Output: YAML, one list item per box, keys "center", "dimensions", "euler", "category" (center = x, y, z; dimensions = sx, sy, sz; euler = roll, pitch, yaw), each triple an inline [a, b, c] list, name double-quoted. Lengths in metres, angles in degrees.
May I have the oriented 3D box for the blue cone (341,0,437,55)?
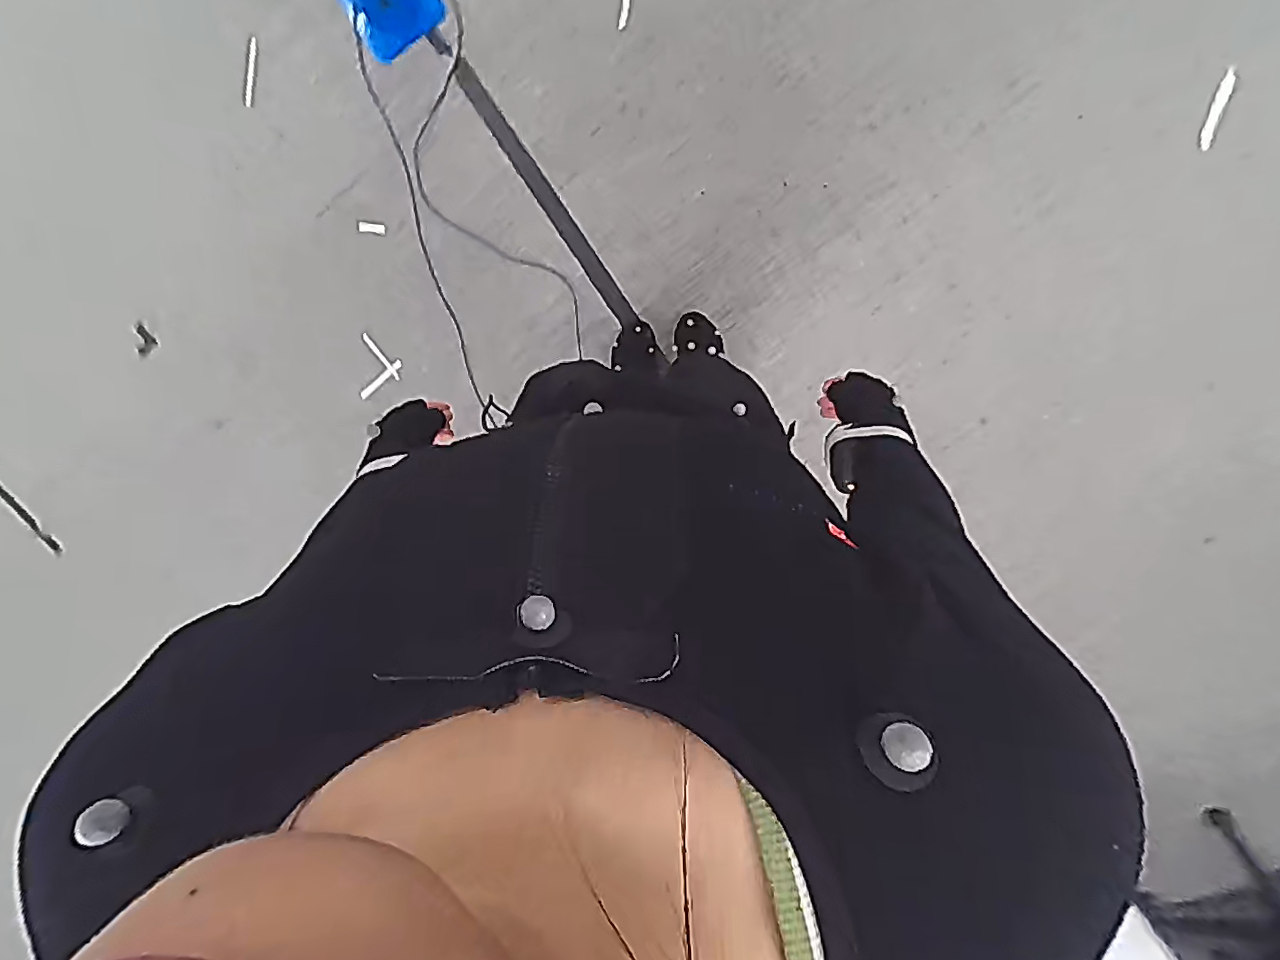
- center: [-0.574, -1.032, 1.044]
  dimensions: [0.193, 0.380, 0.192]
  euler: [-30, 102, 12]
  category: "blue cone"
